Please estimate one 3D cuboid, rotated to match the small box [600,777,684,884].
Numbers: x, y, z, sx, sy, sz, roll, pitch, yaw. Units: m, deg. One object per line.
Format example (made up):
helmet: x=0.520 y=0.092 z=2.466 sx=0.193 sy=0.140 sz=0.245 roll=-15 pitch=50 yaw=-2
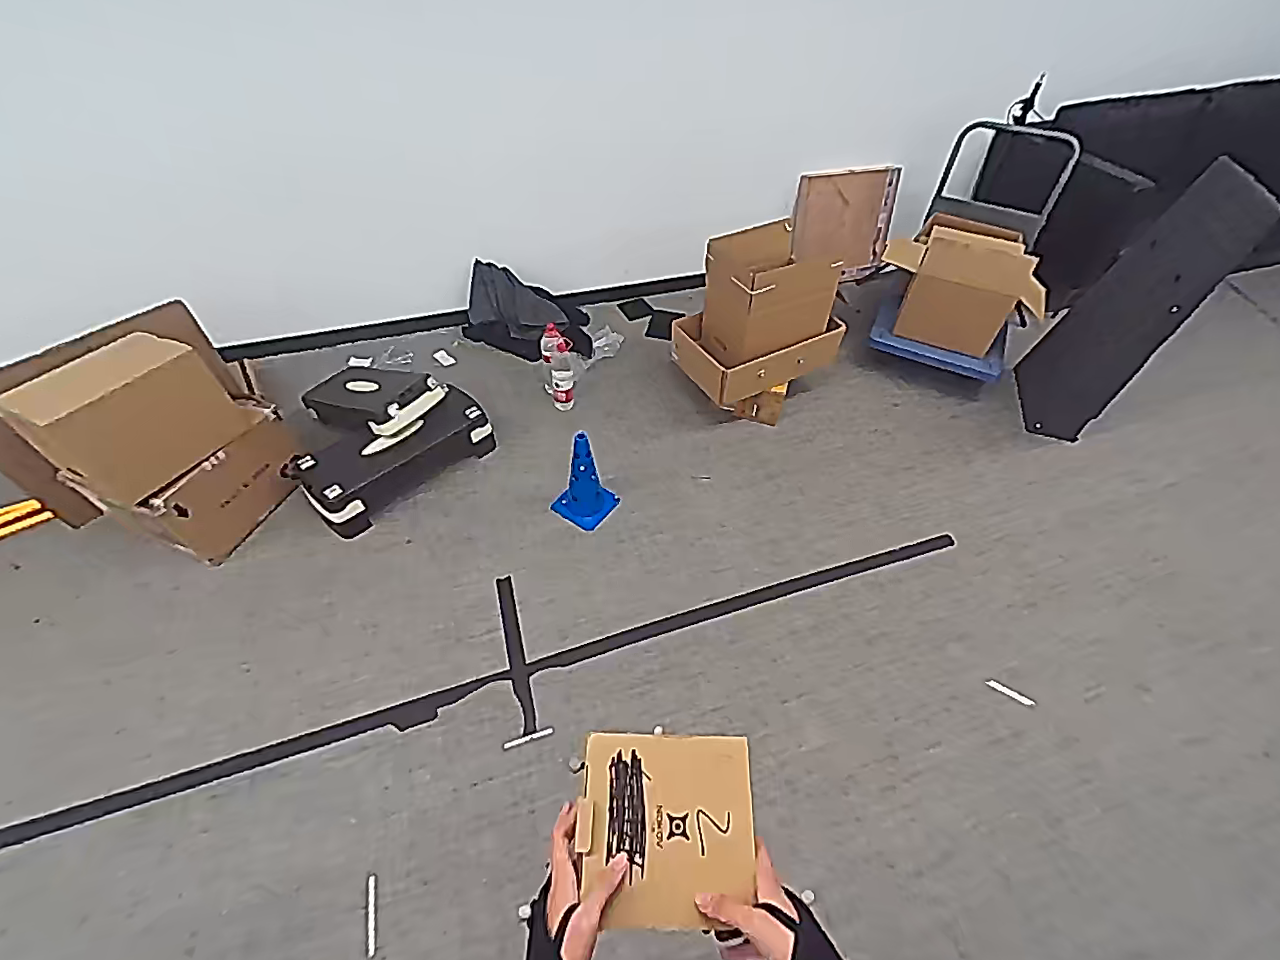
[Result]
small box: x=0.002 y=0.847 z=1.301 sx=0.168 sy=0.176 sz=0.179 roll=-9 pitch=49 yaw=-10
